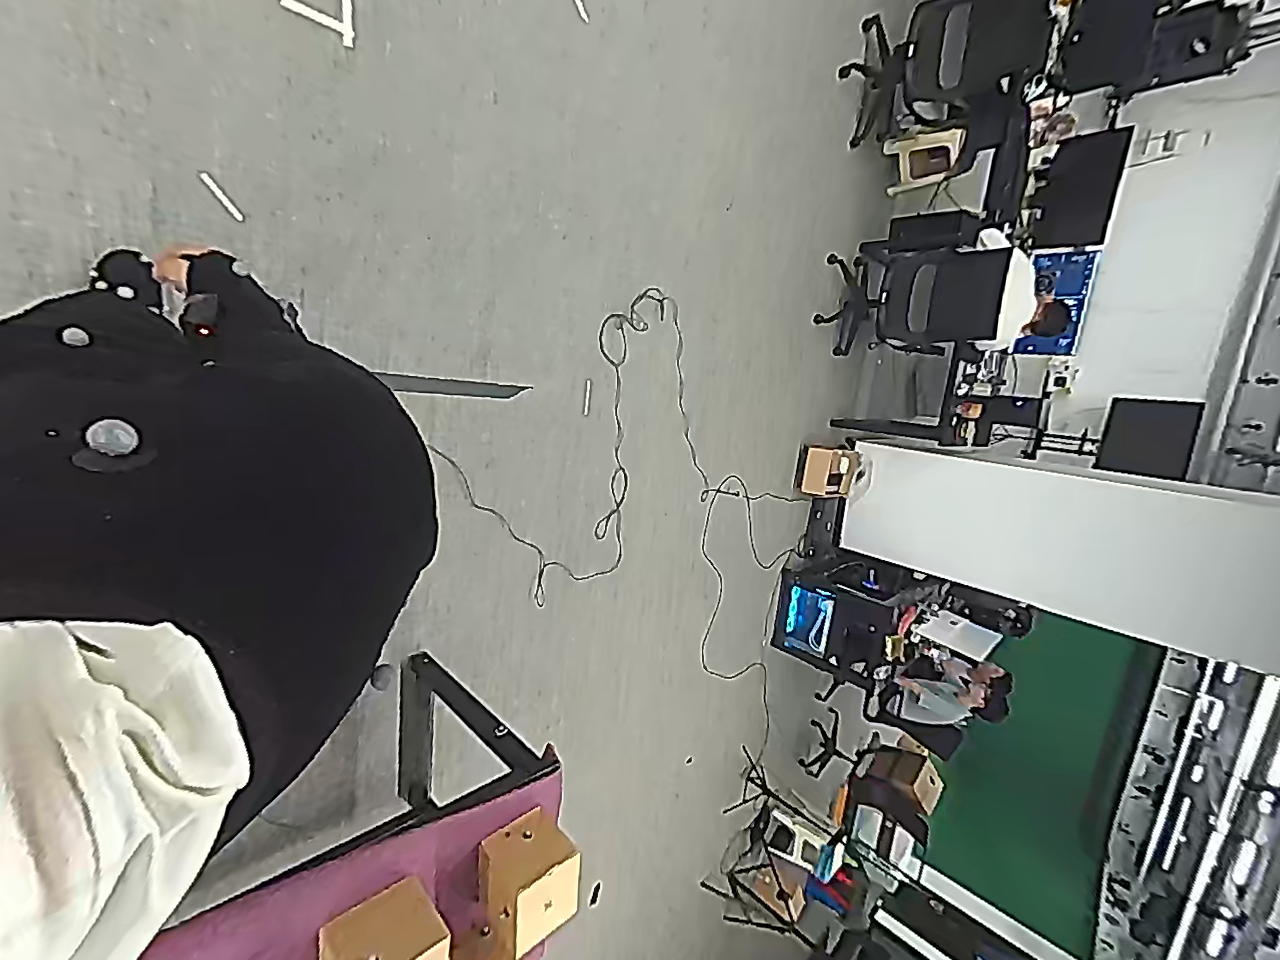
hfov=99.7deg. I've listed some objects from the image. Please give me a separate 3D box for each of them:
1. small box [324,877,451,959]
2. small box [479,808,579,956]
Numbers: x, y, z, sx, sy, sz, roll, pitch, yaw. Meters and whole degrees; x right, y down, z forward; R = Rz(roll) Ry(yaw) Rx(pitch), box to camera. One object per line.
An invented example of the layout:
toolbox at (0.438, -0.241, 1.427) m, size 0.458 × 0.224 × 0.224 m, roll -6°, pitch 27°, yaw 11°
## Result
small box at (-0.480, 0.912, 1.017) m, size 0.179 × 0.176 × 0.168 m, roll -4°, pitch 105°, yaw -47°
small box at (-0.260, 0.917, 1.252) m, size 0.168 × 0.176 × 0.179 m, roll -9°, pitch 108°, yaw -43°
